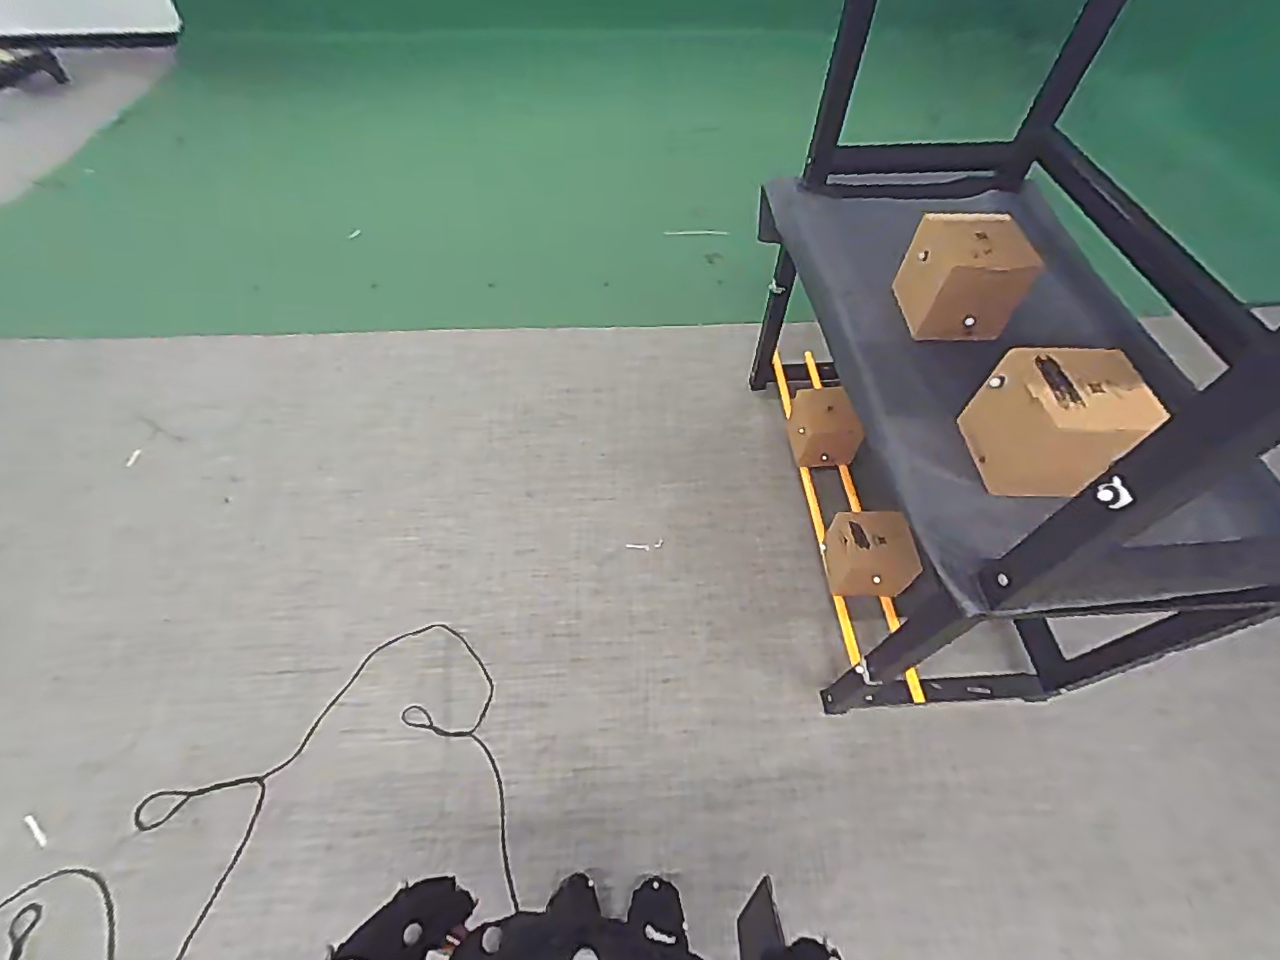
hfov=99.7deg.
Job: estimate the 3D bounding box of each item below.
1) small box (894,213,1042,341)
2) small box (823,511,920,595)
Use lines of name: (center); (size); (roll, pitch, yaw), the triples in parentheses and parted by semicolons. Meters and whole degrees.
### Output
small box: (0.628, -0.398, 1.065); (0.168, 0.176, 0.179); (0, 56, 0)
small box: (0.592, 0.193, 1.414); (0.179, 0.176, 0.168); (0, 56, 0)
